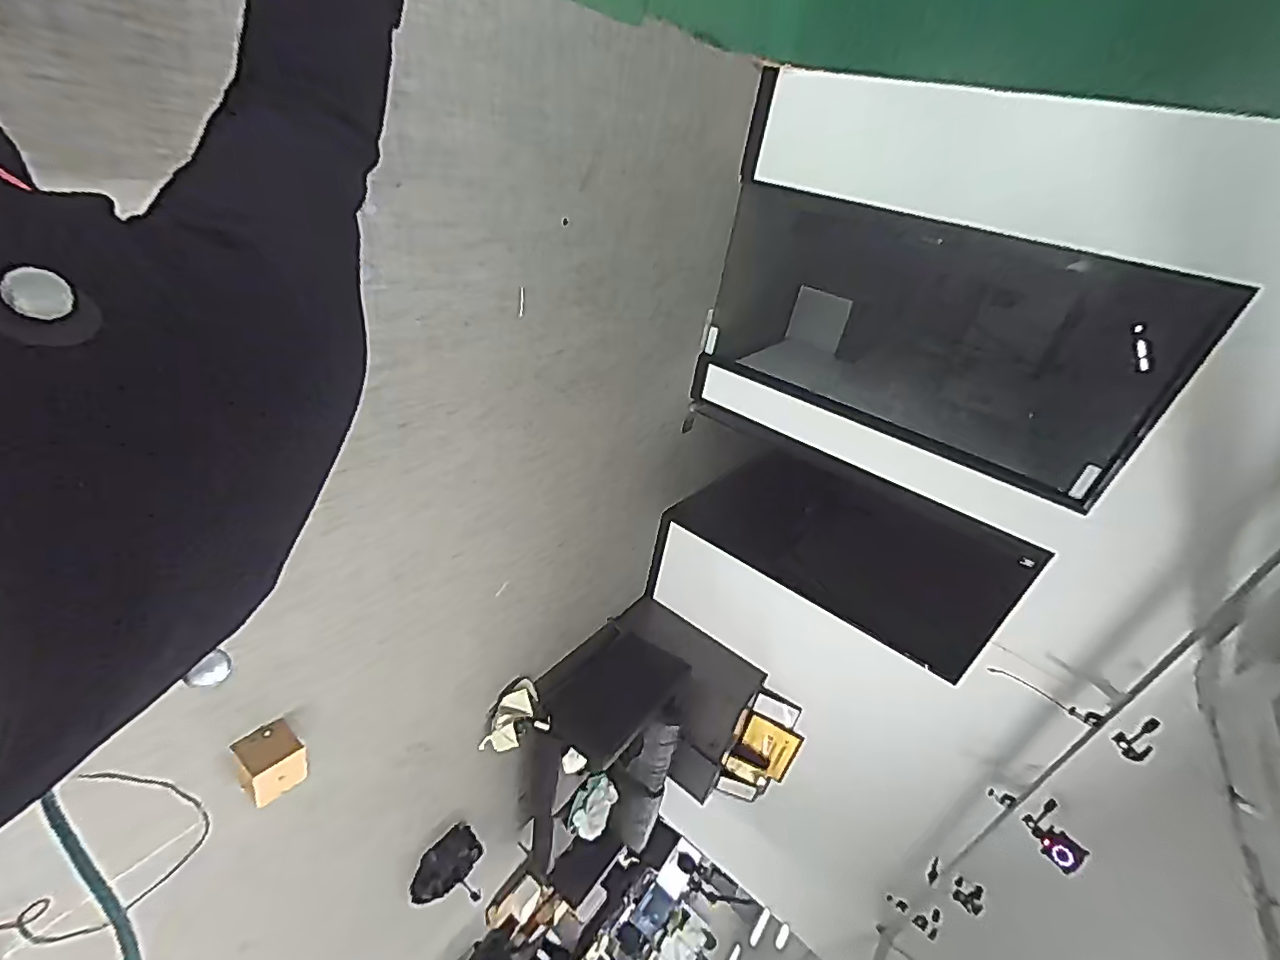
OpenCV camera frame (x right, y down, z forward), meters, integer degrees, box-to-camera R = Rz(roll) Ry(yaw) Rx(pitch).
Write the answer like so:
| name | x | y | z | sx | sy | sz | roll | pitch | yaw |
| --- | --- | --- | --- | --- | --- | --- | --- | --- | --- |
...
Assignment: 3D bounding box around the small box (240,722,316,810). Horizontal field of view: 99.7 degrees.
| name | x | y | z | sx | sy | sz | roll | pitch | yaw |
| --- | --- | --- | --- | --- | --- | --- | --- | --- | --- |
| small box | -1.262 | 0.992 | 1.889 | 0.168 | 0.176 | 0.179 | -24 | 136 | -51 |
